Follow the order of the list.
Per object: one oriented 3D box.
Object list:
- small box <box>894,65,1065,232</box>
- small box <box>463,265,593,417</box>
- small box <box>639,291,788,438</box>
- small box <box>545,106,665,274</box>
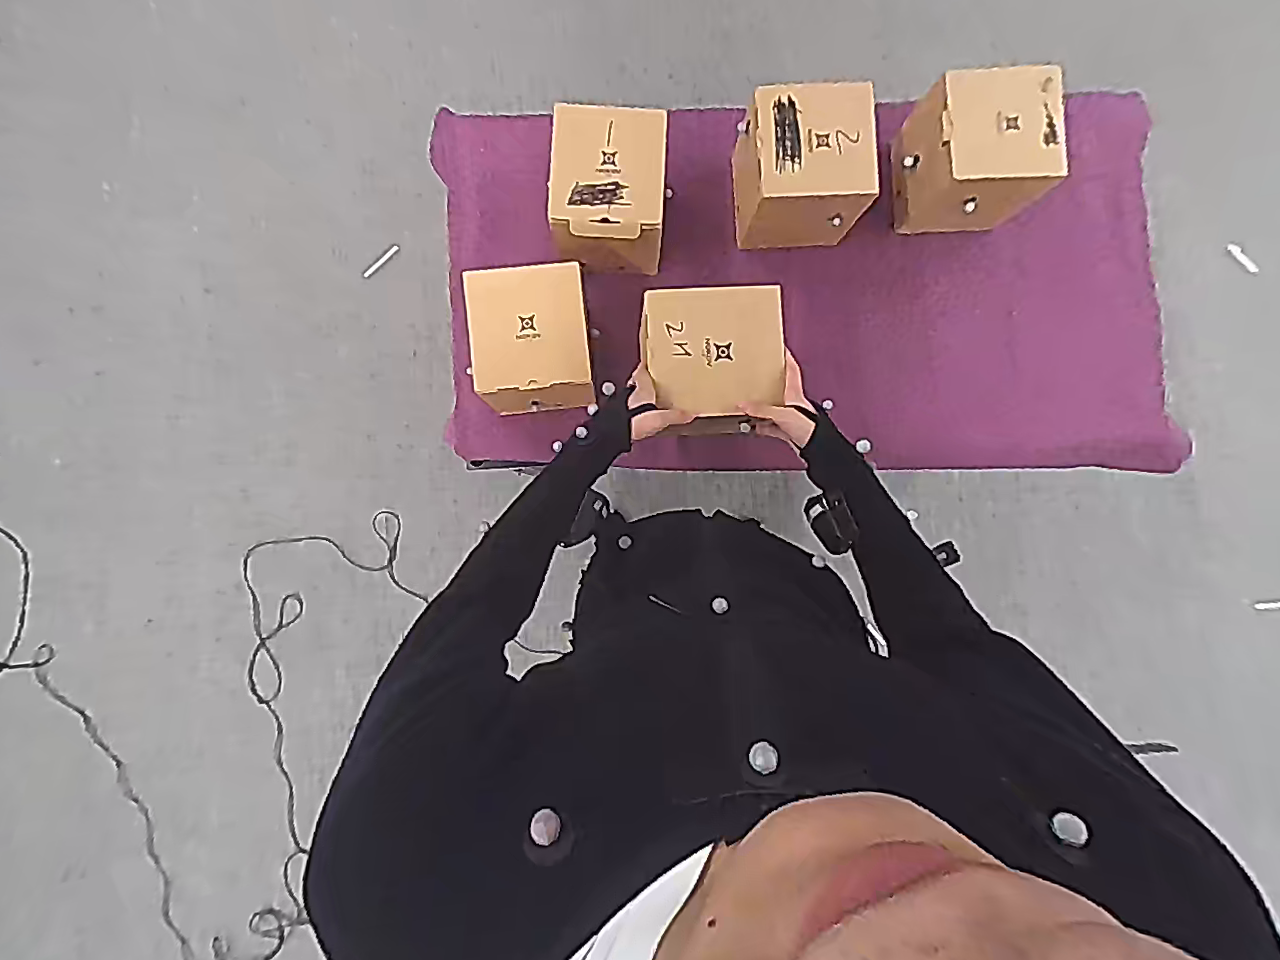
[{"bbox_3d":[0.524,-0.514,0.862,0.179,0.176,0.168,-3,90,0],"label":"small box"},{"bbox_3d":[-0.163,-0.204,0.832,0.168,0.176,0.179,-7,88,-4],"label":"small box"},{"bbox_3d":[0.092,-0.151,0.752,0.179,0.176,0.168,-3,87,-1],"label":"small box"},{"bbox_3d":[-0.051,-0.440,0.848,0.168,0.176,0.179,2,87,-2],"label":"small box"}]
